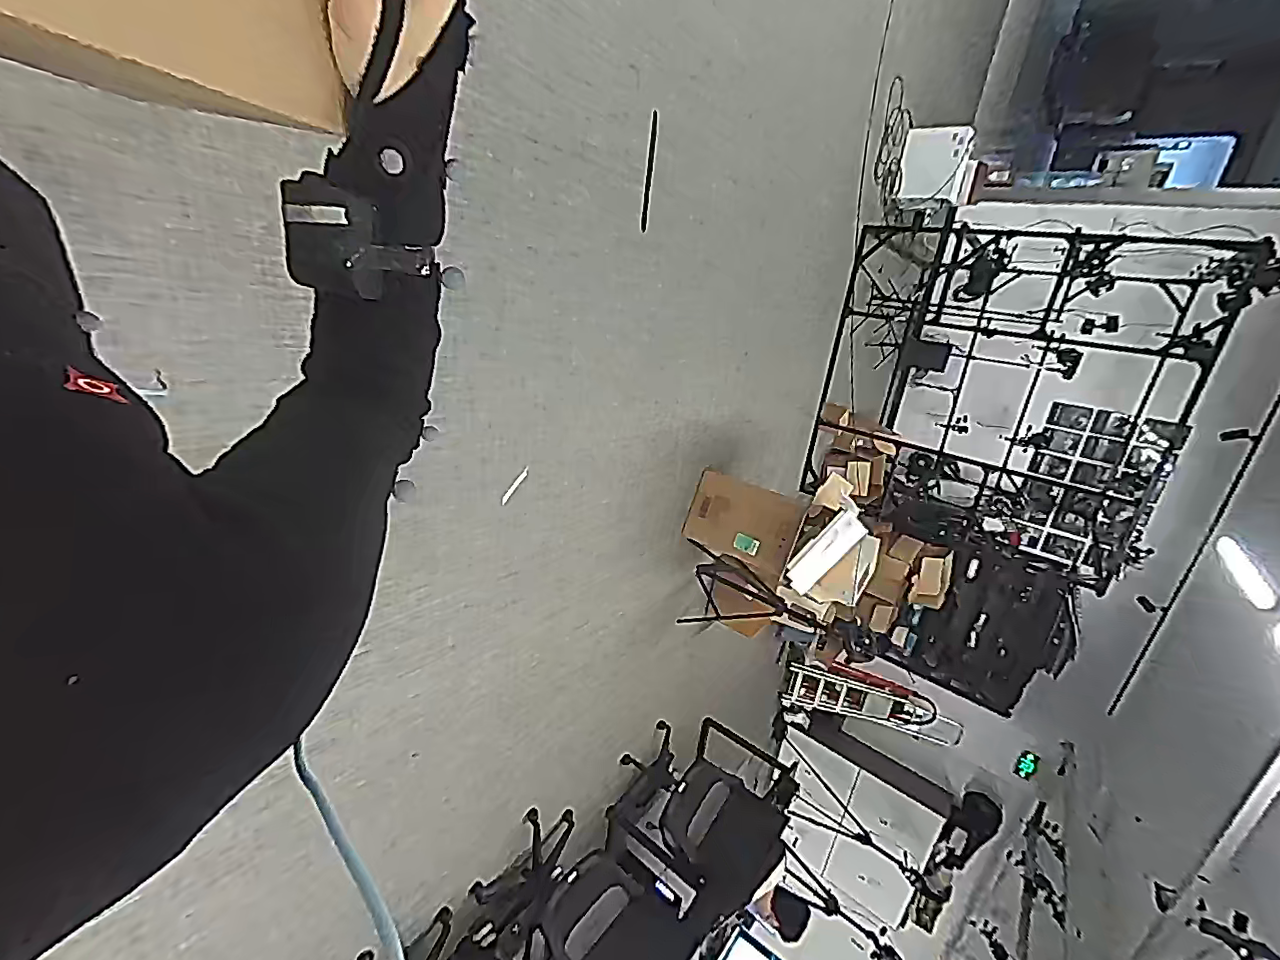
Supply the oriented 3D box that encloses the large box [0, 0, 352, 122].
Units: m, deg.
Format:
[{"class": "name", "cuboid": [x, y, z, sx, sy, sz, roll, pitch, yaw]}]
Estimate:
[{"class": "large box", "cuboid": [-0.365, -0.365, 0.169, 0.408, 0.320, 0.320, -18, 129, -55]}]
